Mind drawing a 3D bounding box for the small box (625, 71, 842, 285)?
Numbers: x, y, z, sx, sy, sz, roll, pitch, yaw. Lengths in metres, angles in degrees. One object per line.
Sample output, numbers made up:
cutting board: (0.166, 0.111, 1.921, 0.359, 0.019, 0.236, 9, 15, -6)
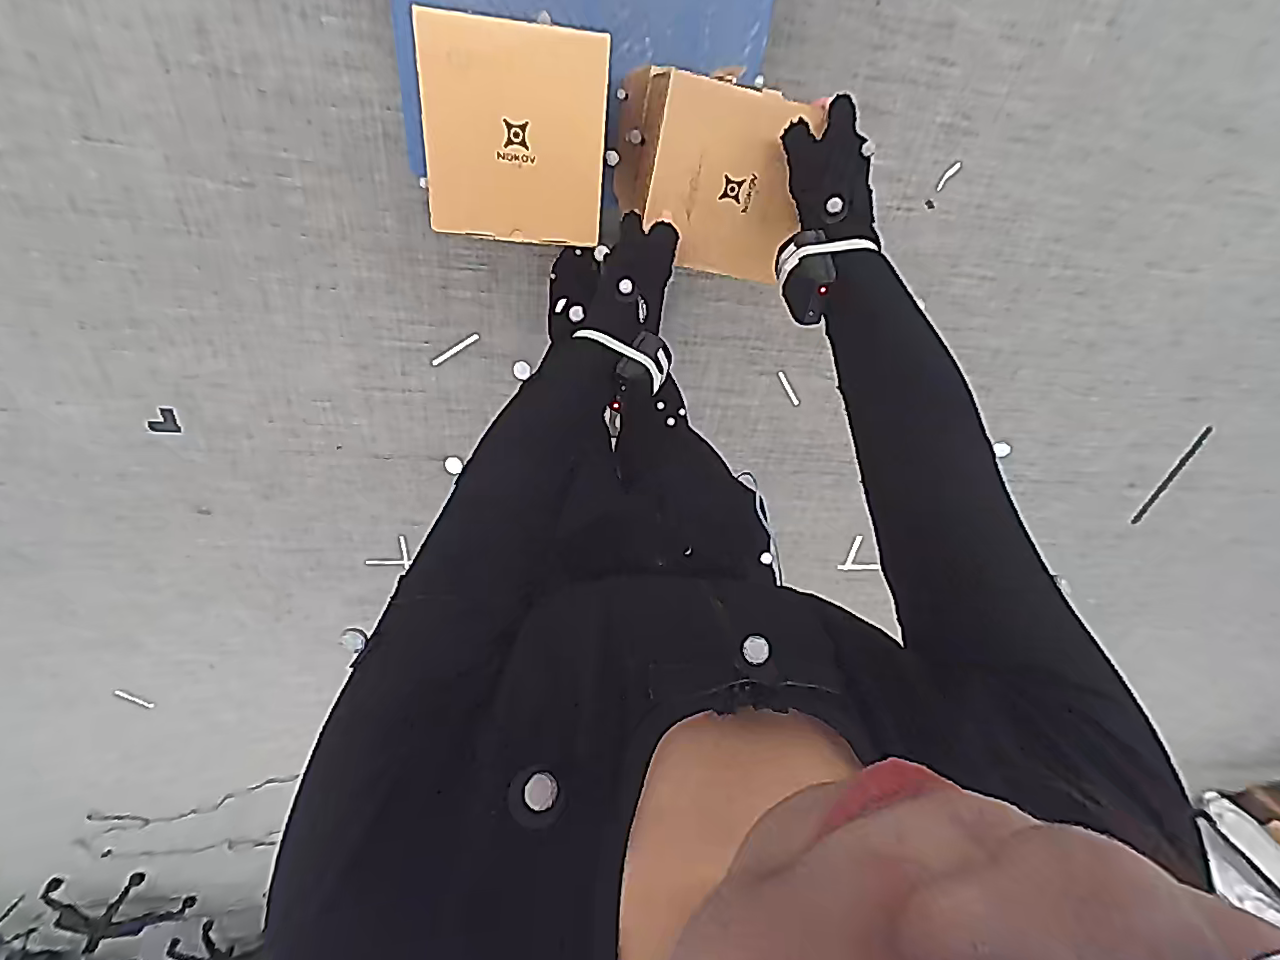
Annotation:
small box: (0.087, -0.340, 0.611, 0.179, 0.176, 0.168, 7, 124, -11)

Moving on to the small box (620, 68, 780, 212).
small box: (0.067, -0.438, 0.740, 0.168, 0.176, 0.179, 4, 125, -10)

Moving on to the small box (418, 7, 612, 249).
small box: (-0.123, -0.361, 0.568, 0.168, 0.176, 0.179, 2, 125, -9)
